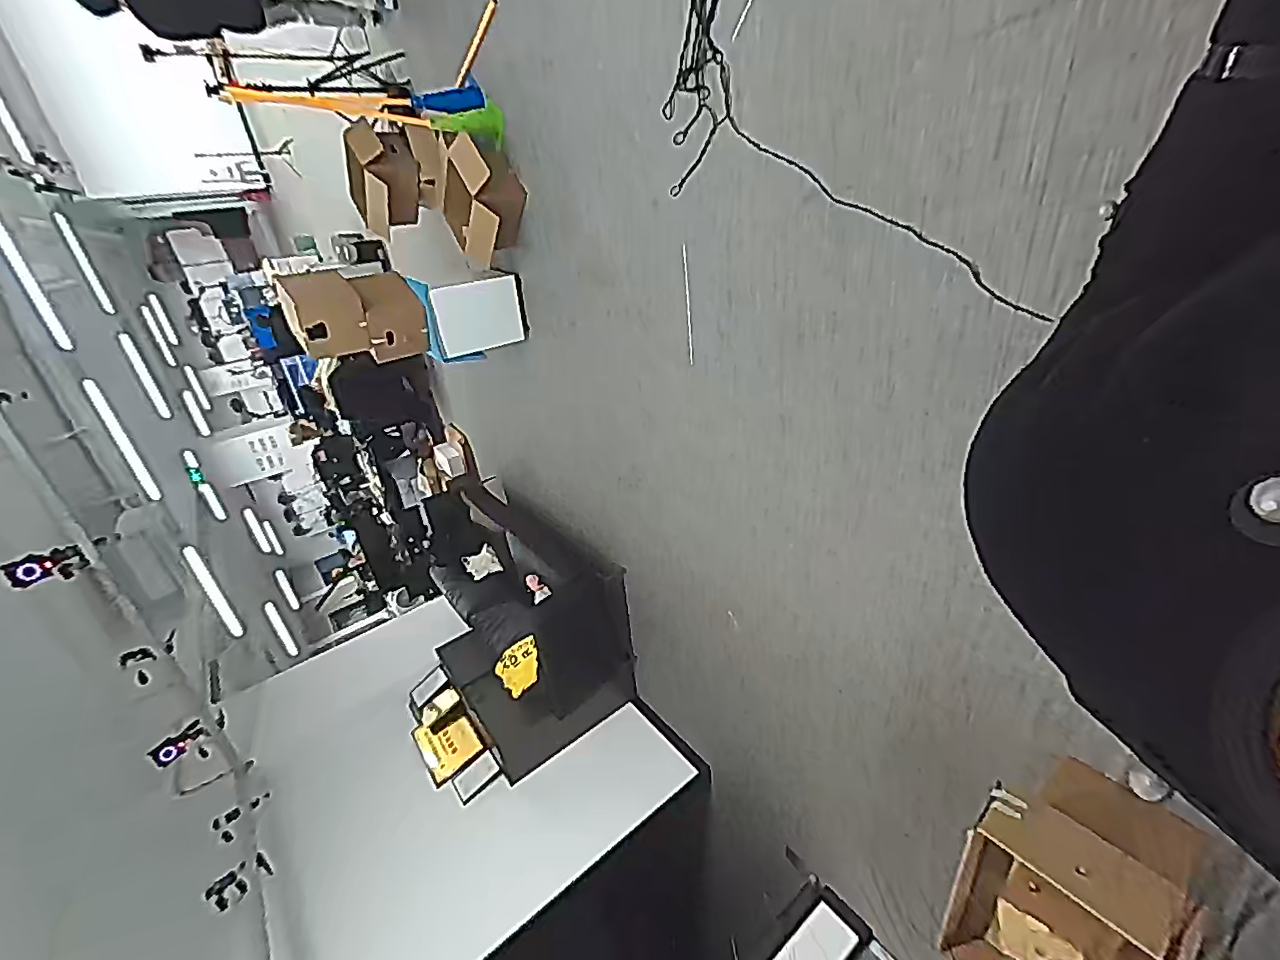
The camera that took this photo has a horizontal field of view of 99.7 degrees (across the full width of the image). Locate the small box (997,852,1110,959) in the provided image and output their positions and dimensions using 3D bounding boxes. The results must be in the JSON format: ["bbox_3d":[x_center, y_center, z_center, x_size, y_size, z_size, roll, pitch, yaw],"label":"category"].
[{"bbox_3d":[0.962,1.027,1.259,0.168,0.176,0.179,9,118,55],"label":"small box"}]
